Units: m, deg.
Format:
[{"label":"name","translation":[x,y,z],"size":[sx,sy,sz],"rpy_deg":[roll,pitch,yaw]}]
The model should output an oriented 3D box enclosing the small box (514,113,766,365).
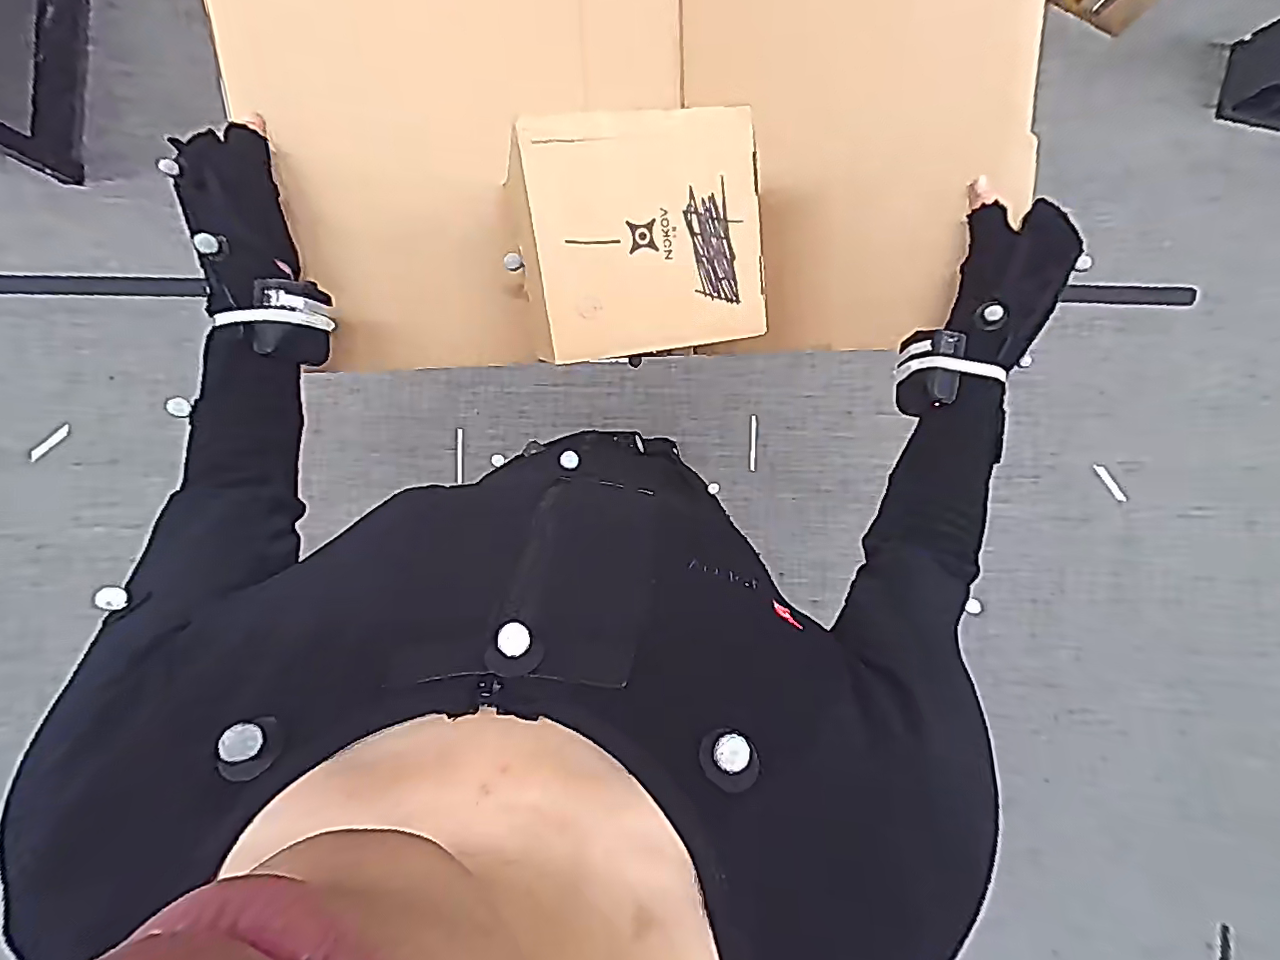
[{"label":"small box","translation":[-0.008,-0.200,0.478],"size":[0.179,0.176,0.168],"rpy_deg":[-11,107,-12]}]
